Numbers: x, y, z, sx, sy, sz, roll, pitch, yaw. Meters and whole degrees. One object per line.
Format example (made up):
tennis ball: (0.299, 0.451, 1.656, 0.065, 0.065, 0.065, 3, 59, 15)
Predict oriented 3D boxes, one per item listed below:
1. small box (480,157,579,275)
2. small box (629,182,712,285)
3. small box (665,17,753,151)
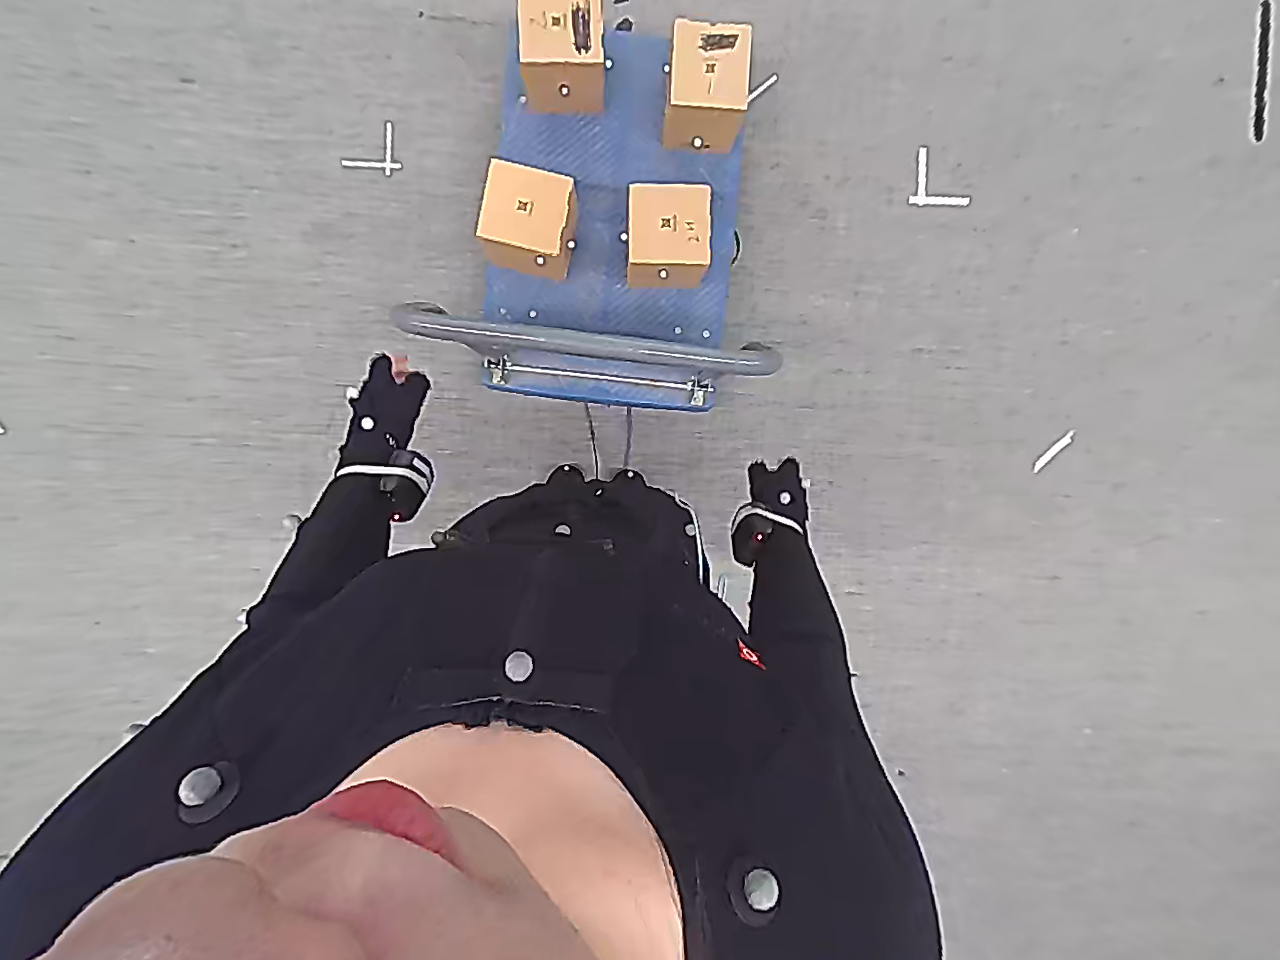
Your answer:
small box: (-0.240, -0.580, 1.212, 0.179, 0.176, 0.168, 12, 91, -5)
small box: (0.063, -0.551, 1.227, 0.179, 0.176, 0.168, 0, 93, -3)
small box: (0.148, -0.880, 1.215, 0.168, 0.176, 0.179, 3, 93, -3)
